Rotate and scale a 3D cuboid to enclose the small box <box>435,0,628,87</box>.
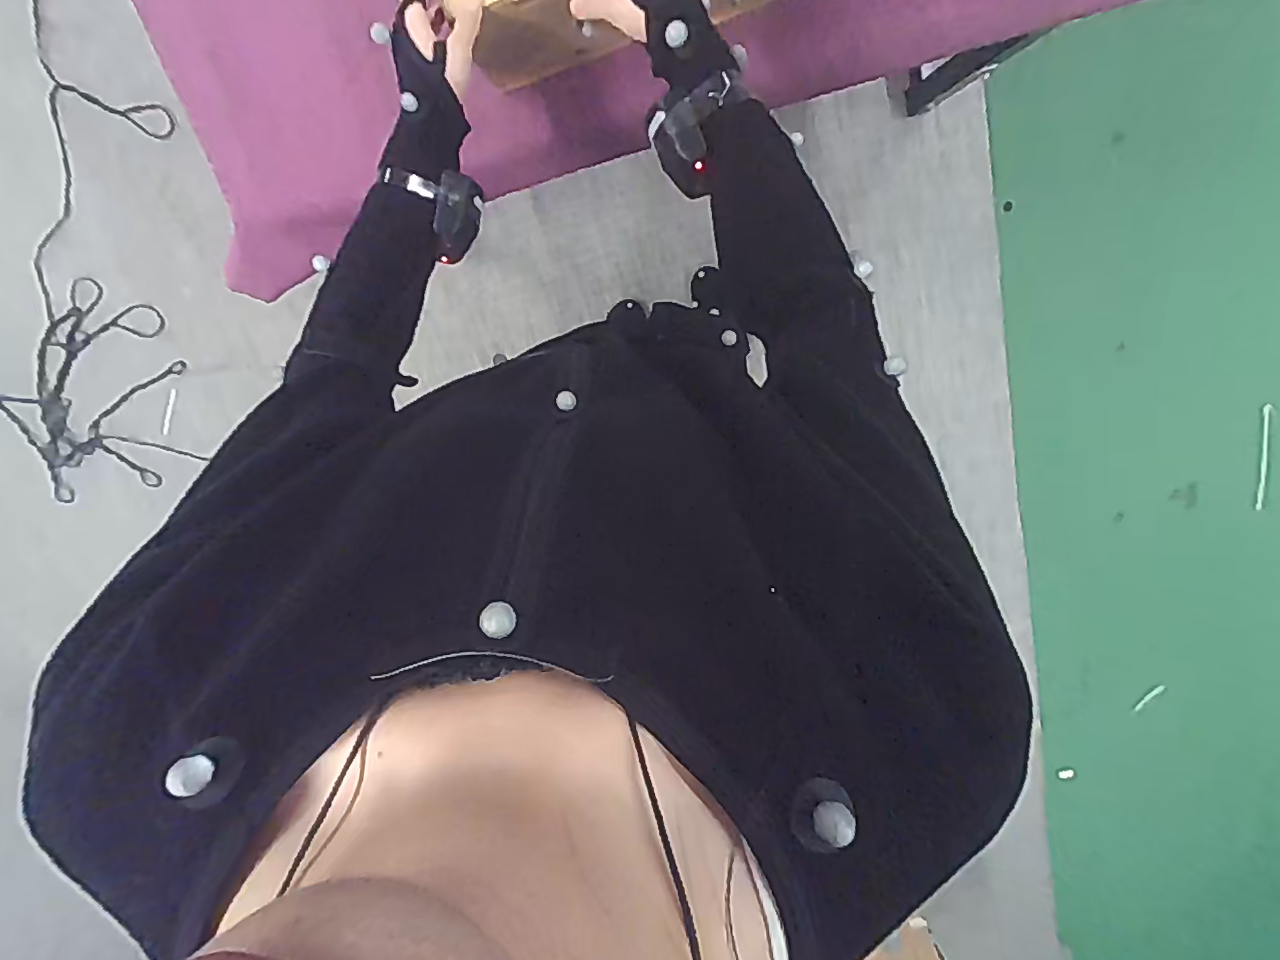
[{"bbox_3d":[-0.113,-0.512,0.514,0.168,0.176,0.179,-16,107,6],"label":"small box"}]
